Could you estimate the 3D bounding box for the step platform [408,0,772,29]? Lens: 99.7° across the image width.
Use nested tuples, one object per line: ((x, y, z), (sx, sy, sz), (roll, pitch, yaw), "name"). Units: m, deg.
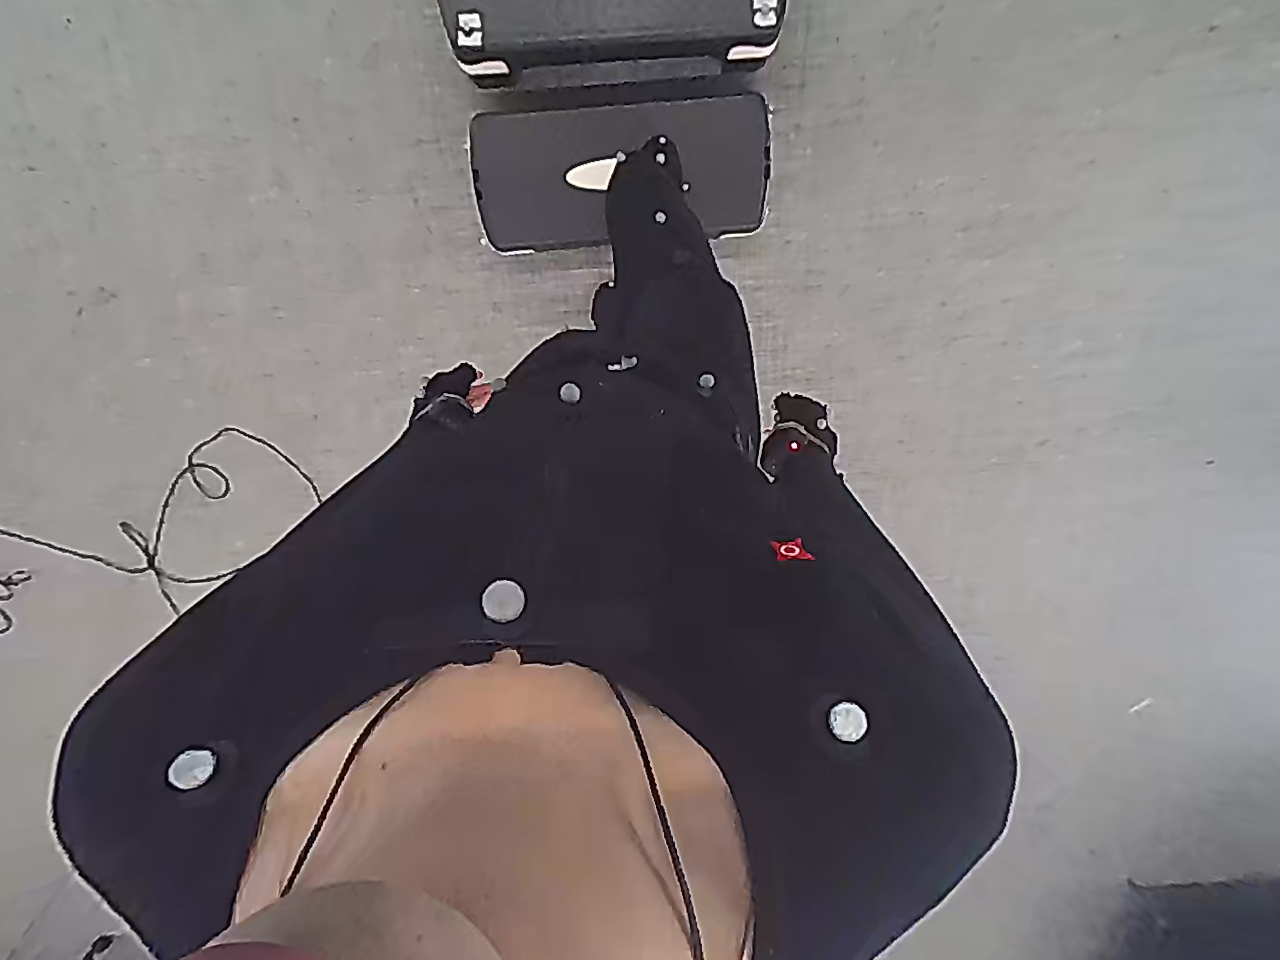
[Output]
((-0.070, -0.937, 0.859), (0.684, 0.204, 0.286), (-4, 112, 1), "step platform")
